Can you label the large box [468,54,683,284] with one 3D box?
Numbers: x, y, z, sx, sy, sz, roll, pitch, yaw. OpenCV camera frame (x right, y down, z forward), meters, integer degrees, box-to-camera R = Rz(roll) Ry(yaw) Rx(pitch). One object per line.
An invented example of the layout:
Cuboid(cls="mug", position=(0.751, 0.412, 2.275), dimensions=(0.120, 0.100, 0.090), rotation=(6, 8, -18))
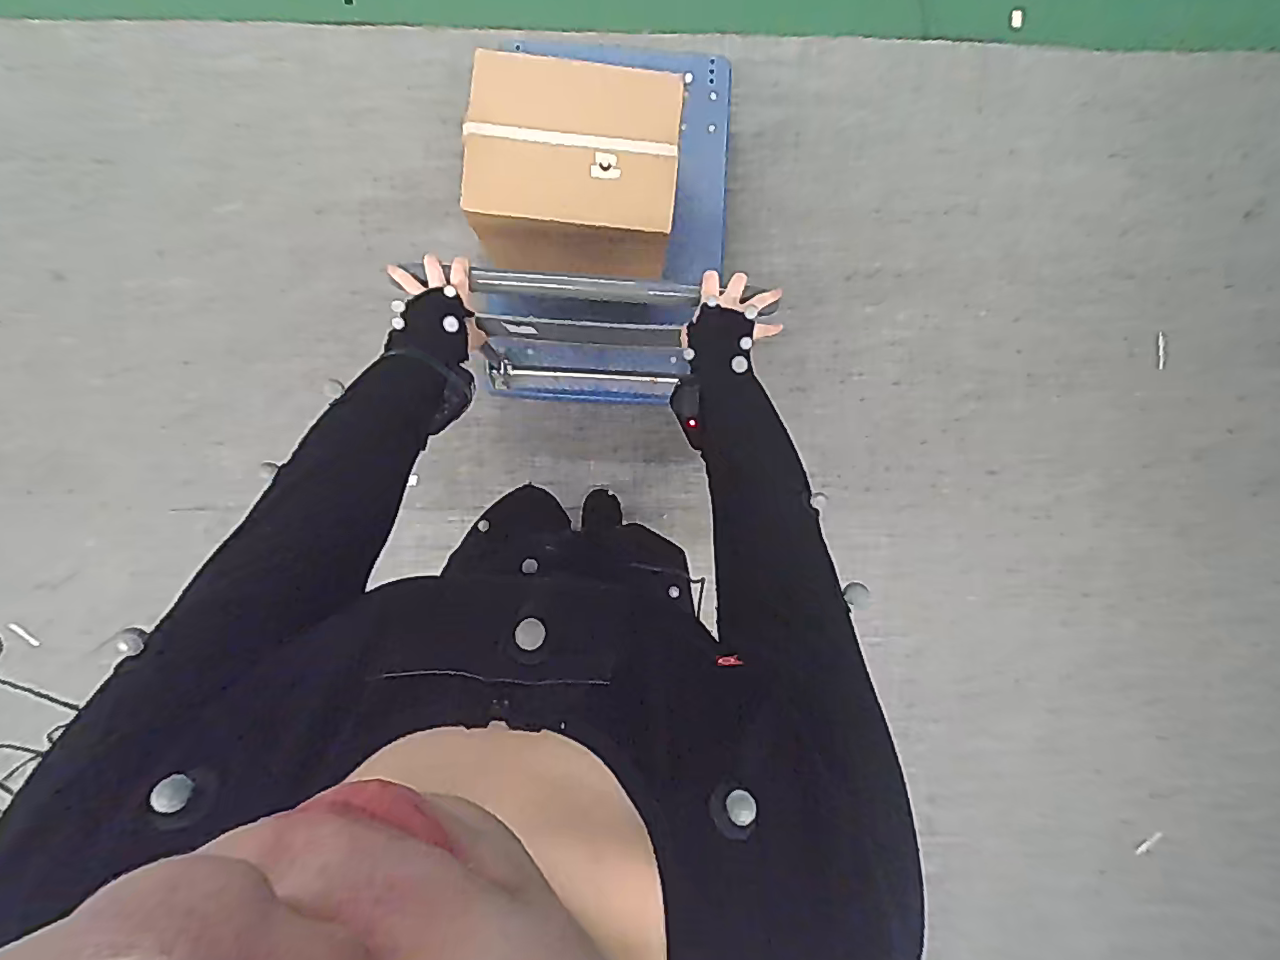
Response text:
Cuboid(cls="large box", position=(-0.132, -0.655, 1.196), dimensions=(0.408, 0.320, 0.320), rotation=(5, 89, -3))
